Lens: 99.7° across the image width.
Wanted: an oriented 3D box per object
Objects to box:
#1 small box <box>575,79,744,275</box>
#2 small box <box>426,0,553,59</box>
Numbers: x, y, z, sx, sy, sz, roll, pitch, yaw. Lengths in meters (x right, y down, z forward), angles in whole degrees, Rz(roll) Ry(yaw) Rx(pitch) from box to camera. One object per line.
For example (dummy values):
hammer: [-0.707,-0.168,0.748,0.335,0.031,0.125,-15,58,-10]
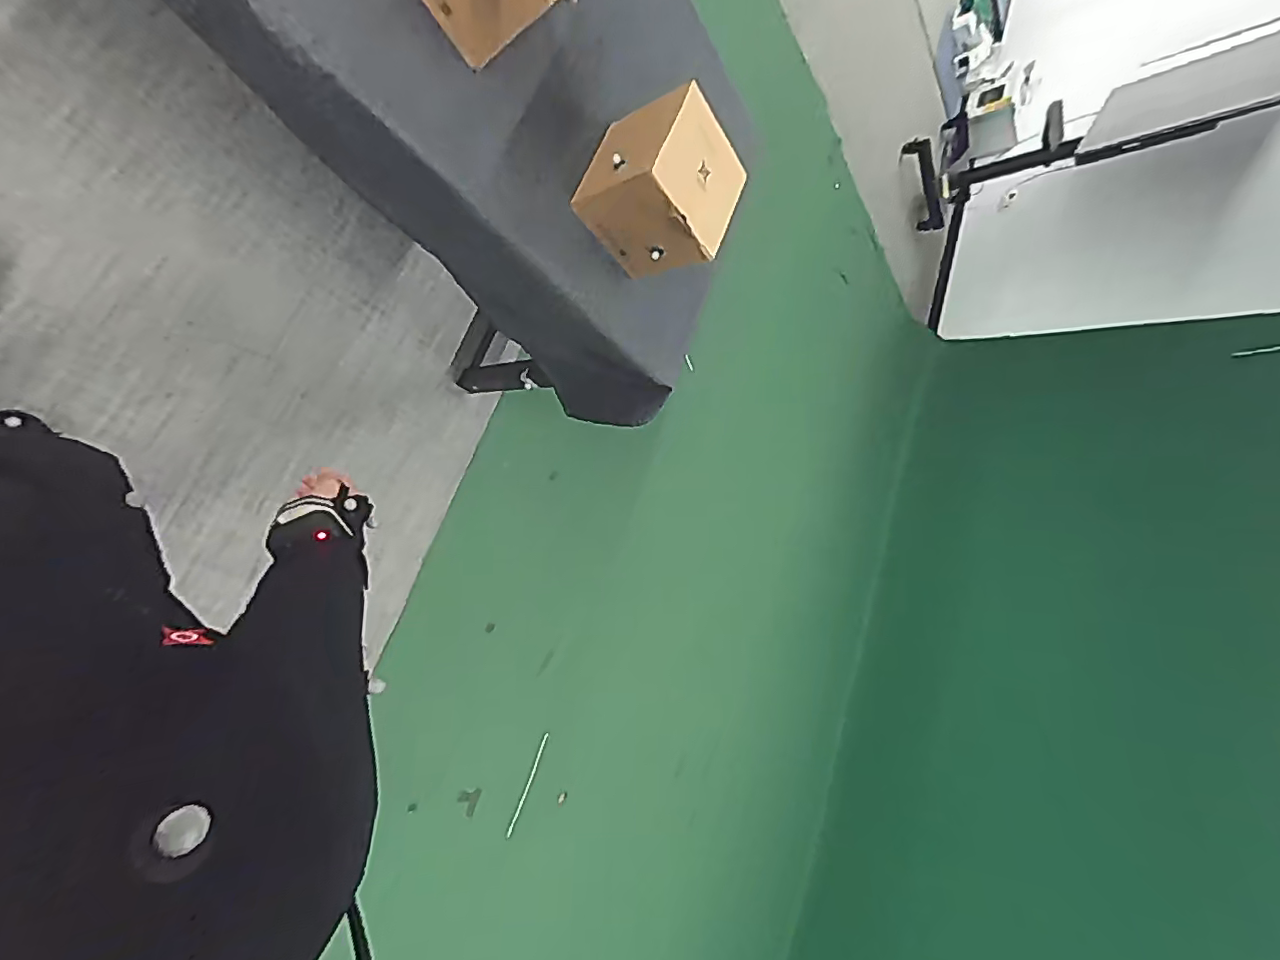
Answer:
small box: [0.027,-0.439,0.817,0.168,0.176,0.179,37,66,-44]
small box: [-0.156,-0.624,0.597,0.168,0.176,0.179,47,61,-40]
